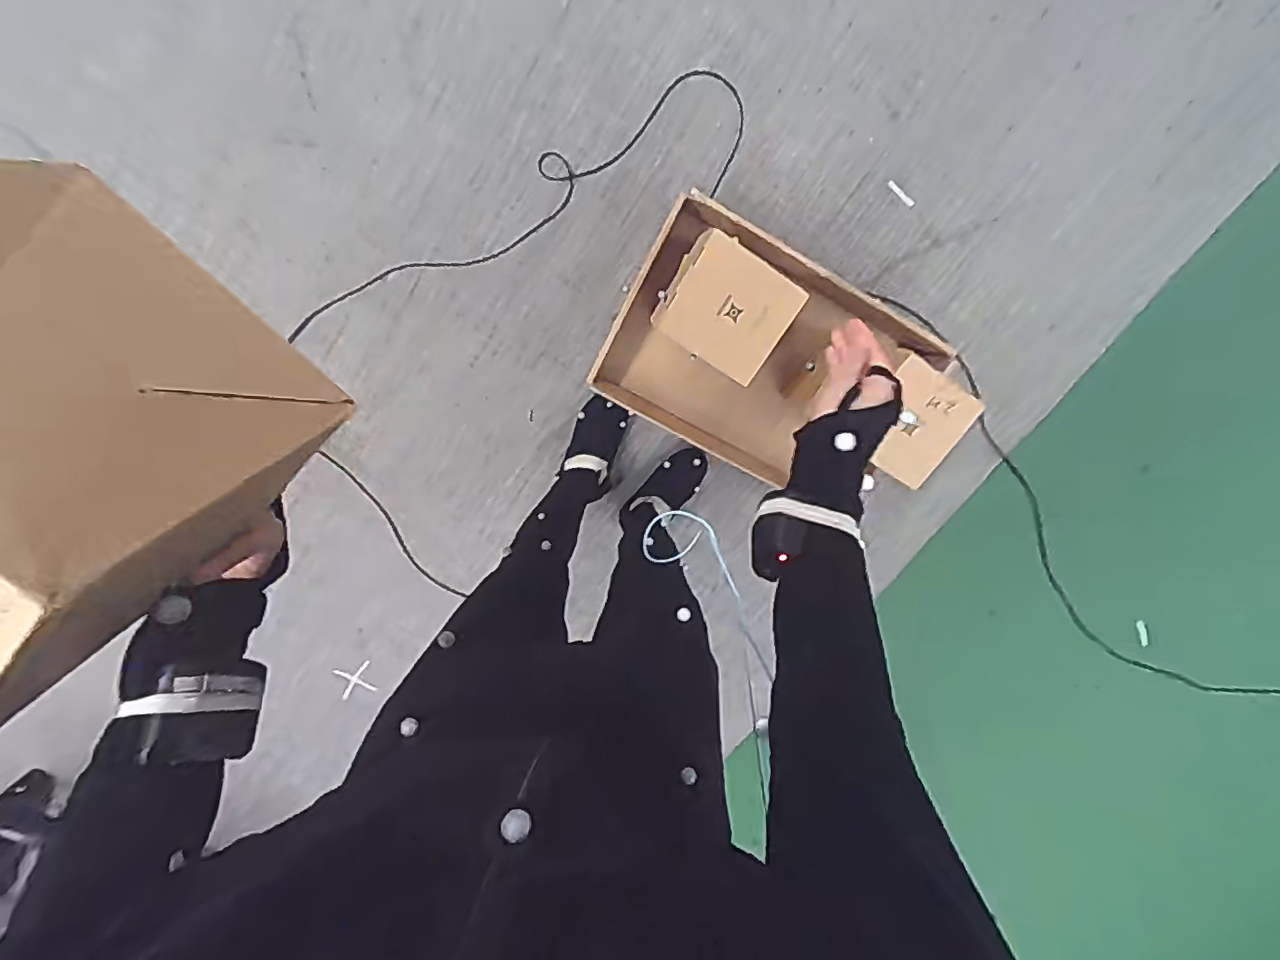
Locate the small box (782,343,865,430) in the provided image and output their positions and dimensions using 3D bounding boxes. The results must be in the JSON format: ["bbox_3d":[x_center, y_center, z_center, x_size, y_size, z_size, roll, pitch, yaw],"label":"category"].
[{"bbox_3d":[0.418,-0.166,1.107,0.179,0.176,0.168,31,105,-11],"label":"small box"}]

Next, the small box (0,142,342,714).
[{"bbox_3d":[-0.282,-0.020,0.237,0.176,0.179,0.168,-37,109,23],"label":"small box"}]

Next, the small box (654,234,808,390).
[{"bbox_3d":[0.135,-0.273,0.889,0.179,0.176,0.168,31,107,-13],"label":"small box"}]

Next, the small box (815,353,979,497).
[{"bbox_3d":[0.435,-0.104,0.955,0.168,0.176,0.179,31,105,-12],"label":"small box"}]
